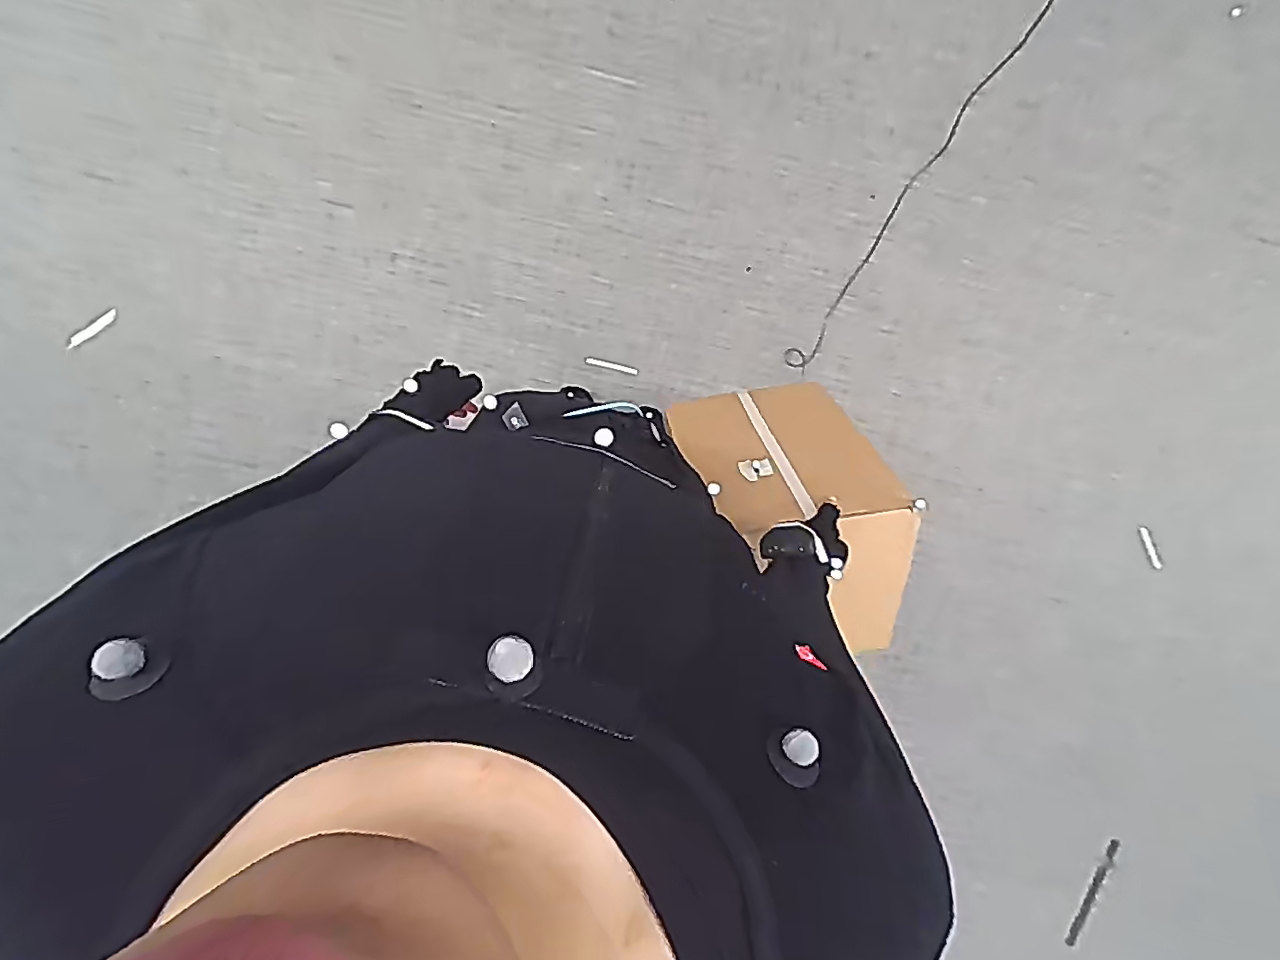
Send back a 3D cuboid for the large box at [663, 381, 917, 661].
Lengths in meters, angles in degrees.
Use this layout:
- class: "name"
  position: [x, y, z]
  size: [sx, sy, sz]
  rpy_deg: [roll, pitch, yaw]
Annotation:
- class: "large box"
  position: [0.237, 0.060, 1.008]
  size: [0.320, 0.408, 0.320]
  rpy_deg: [-10, 127, 0]
